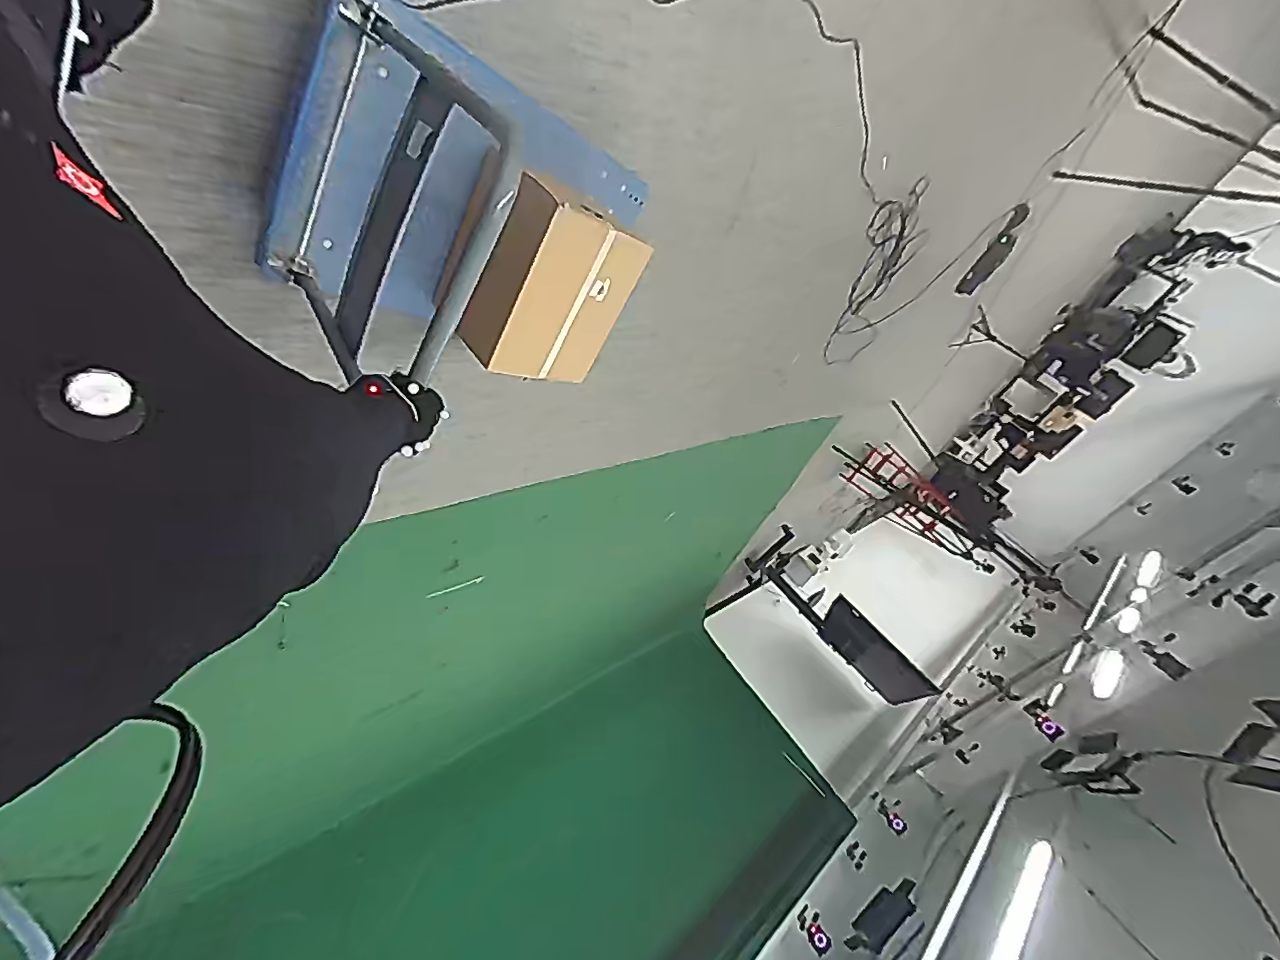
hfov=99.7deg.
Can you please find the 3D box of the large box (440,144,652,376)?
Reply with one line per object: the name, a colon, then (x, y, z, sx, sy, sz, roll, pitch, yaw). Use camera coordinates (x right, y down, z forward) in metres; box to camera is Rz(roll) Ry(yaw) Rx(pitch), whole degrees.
large box: (-0.247, -0.522, 1.351, 0.320, 0.320, 0.408, -5, 135, -50)
